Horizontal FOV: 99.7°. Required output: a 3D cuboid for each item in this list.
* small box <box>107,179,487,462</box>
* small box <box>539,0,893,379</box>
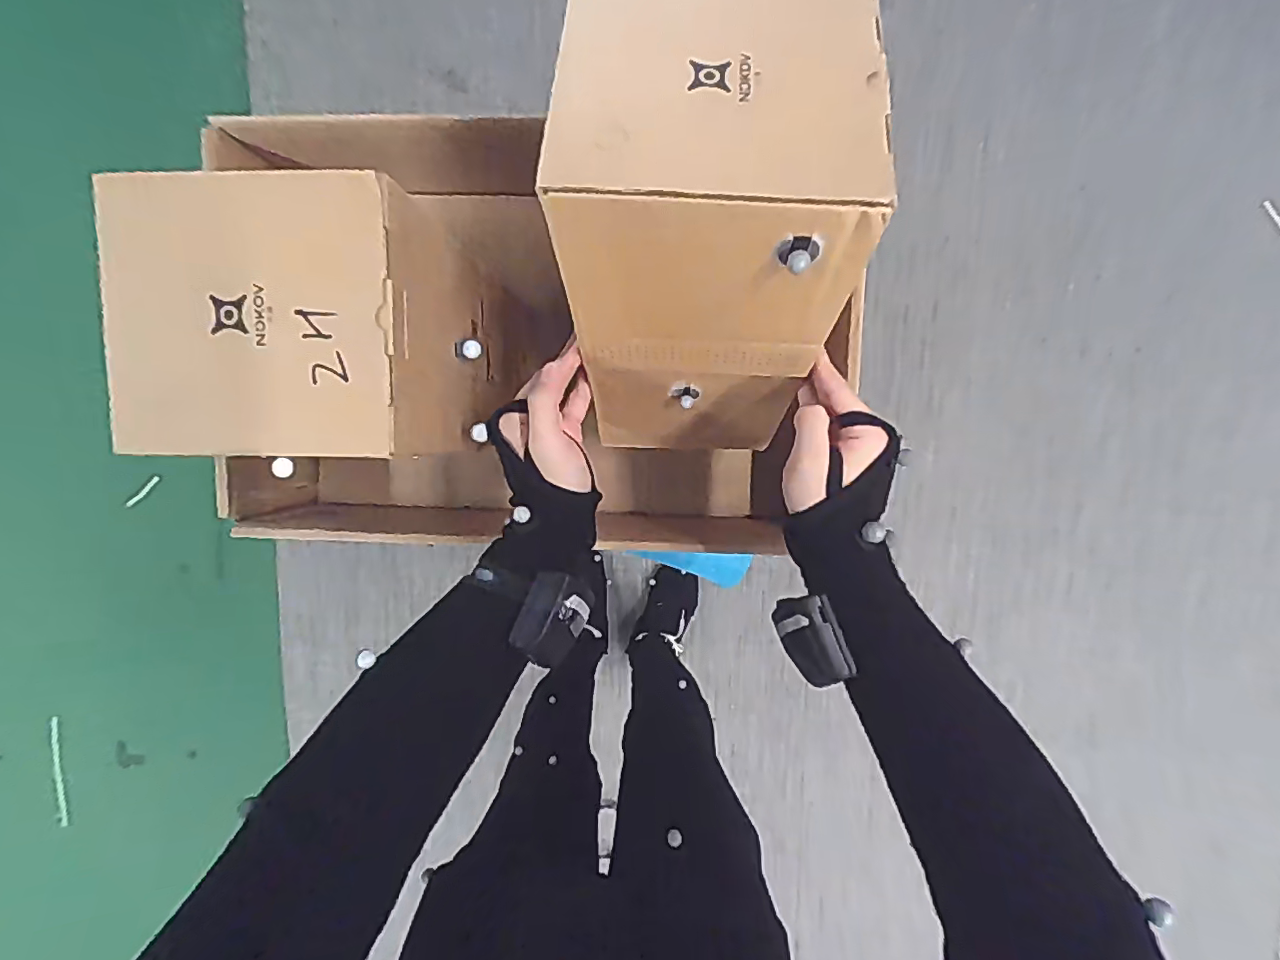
[{"bbox_3d":[-0.227,-0.099,0.401,0.179,0.176,0.168,1,95,2],"label":"small box"},{"bbox_3d":[0.043,-0.181,0.364,0.179,0.176,0.168,4,71,2],"label":"small box"}]
